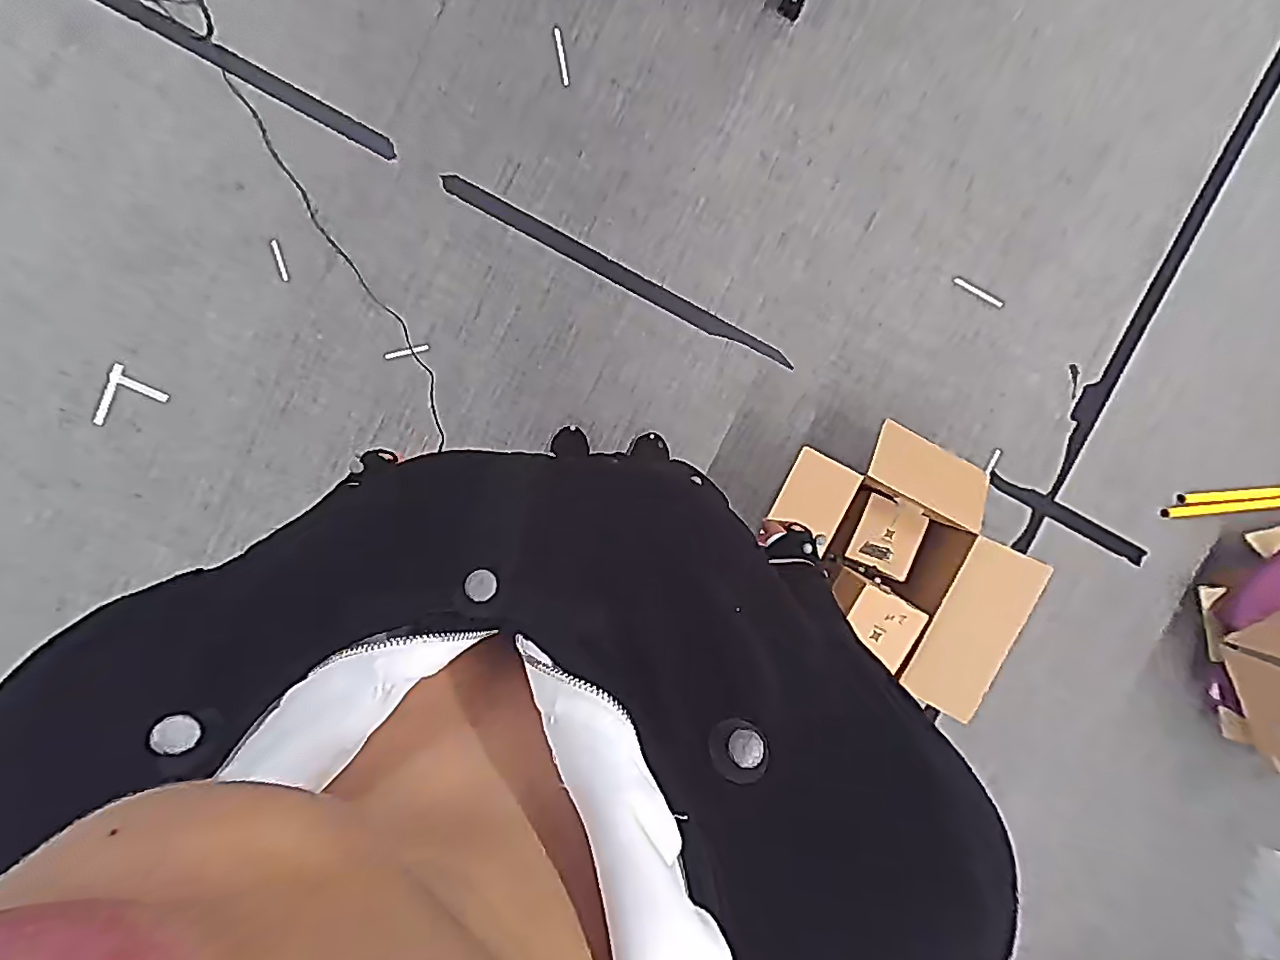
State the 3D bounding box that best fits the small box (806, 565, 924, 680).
[{"bbox_3d":[0.514,0.327,1.272,0.168,0.176,0.179,28,94,-5],"label":"small box"}]
